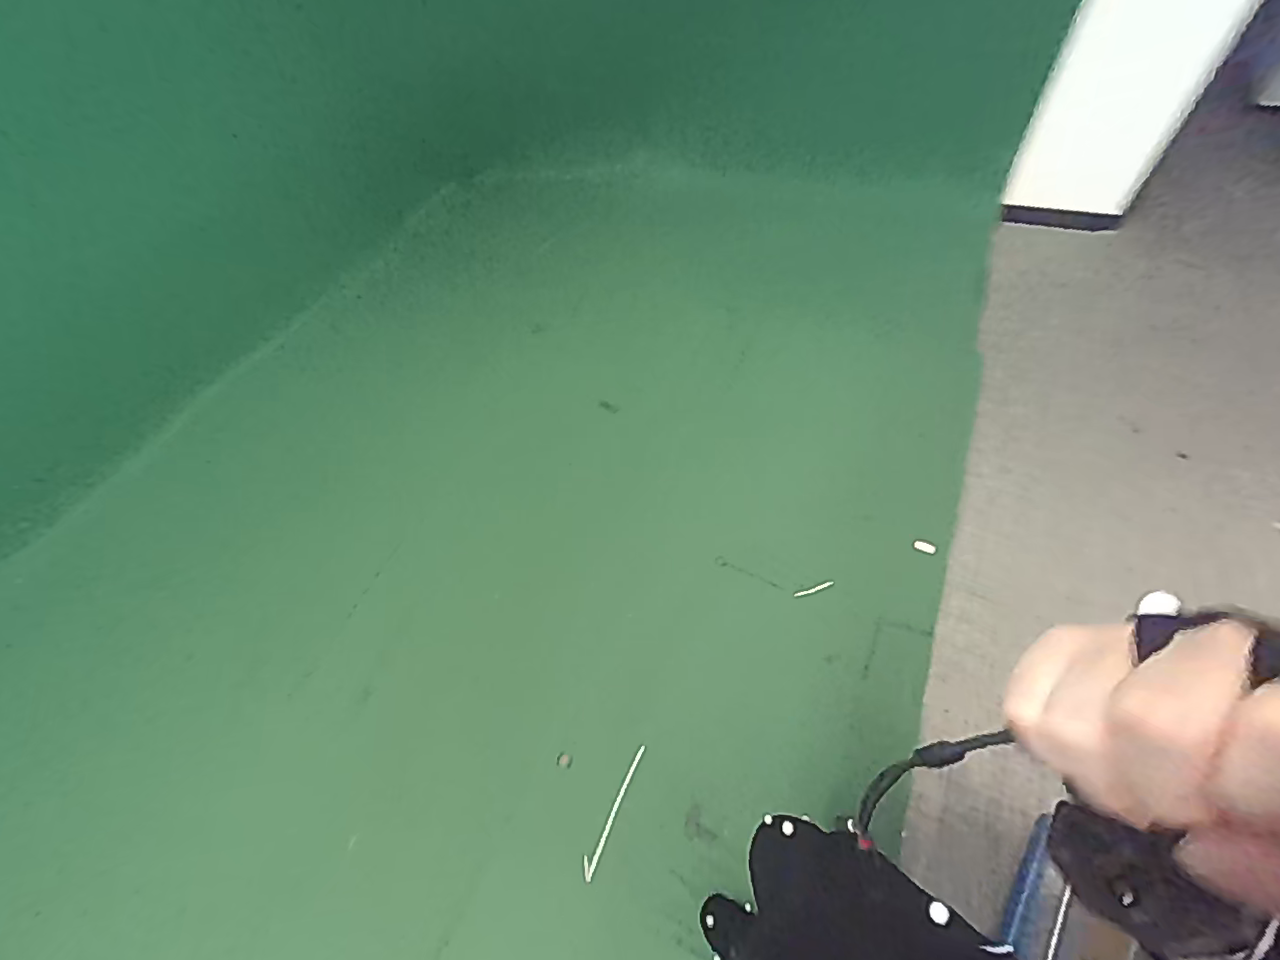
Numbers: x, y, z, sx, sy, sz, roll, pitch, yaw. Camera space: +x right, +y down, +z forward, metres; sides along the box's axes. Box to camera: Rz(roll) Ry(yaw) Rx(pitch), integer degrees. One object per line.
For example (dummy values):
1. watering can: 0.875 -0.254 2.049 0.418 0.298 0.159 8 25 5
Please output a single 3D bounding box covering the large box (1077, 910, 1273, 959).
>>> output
1. large box: 0.924 0.933 0.785 0.408 0.320 0.320 30 64 25
